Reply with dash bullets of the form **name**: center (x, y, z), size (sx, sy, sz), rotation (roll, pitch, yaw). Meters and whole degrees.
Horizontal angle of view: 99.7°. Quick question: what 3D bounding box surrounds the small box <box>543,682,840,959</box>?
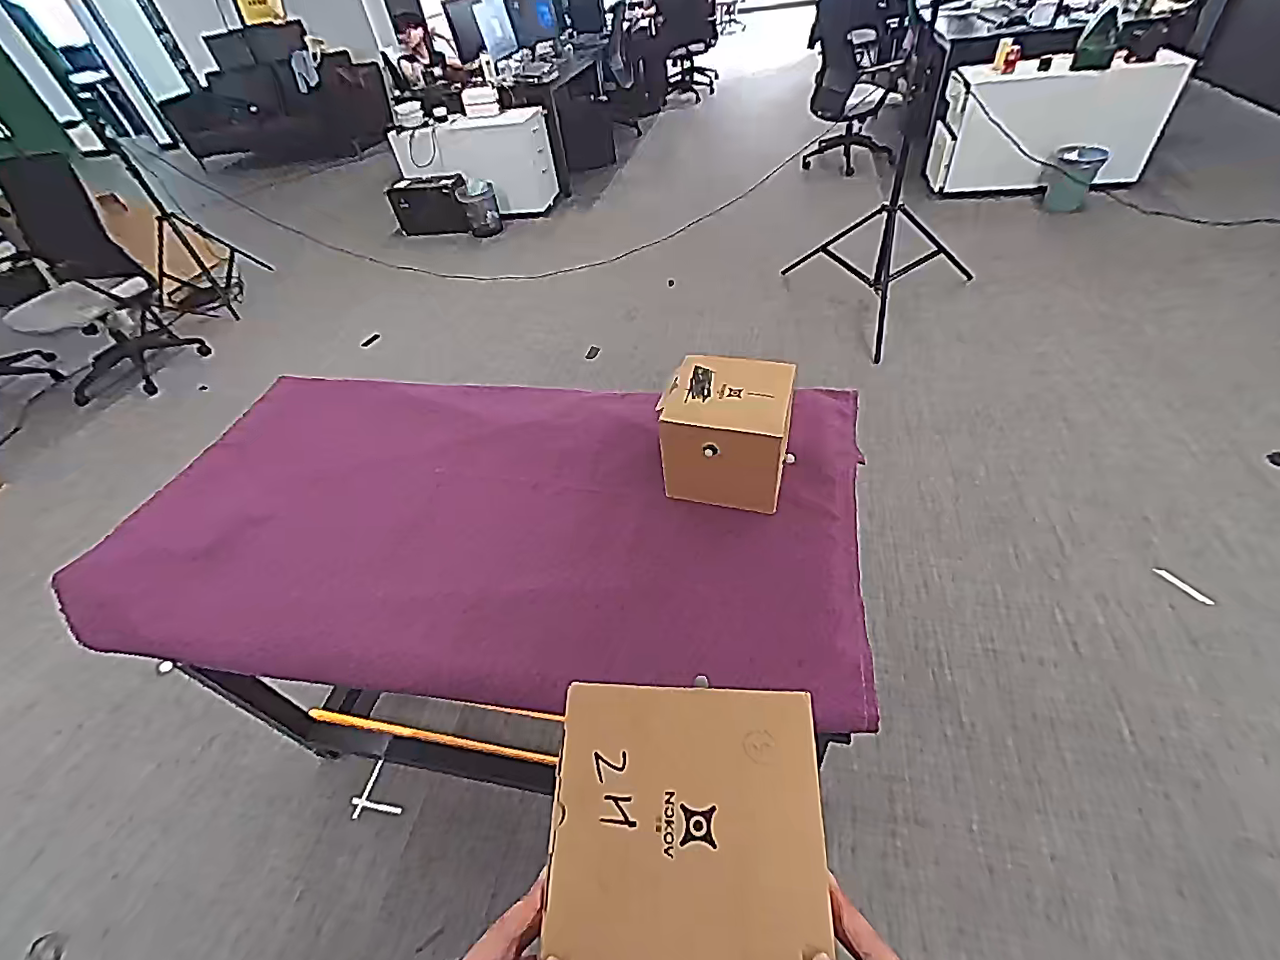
- **small box**: center (0.040, 0.260, 0.420), size (0.179, 0.176, 0.168), rotation (0, 60, 6)

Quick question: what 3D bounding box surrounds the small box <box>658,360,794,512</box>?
- **small box**: center (0.139, -0.068, 0.857), size (0.179, 0.176, 0.168), rotation (9, 50, 16)
